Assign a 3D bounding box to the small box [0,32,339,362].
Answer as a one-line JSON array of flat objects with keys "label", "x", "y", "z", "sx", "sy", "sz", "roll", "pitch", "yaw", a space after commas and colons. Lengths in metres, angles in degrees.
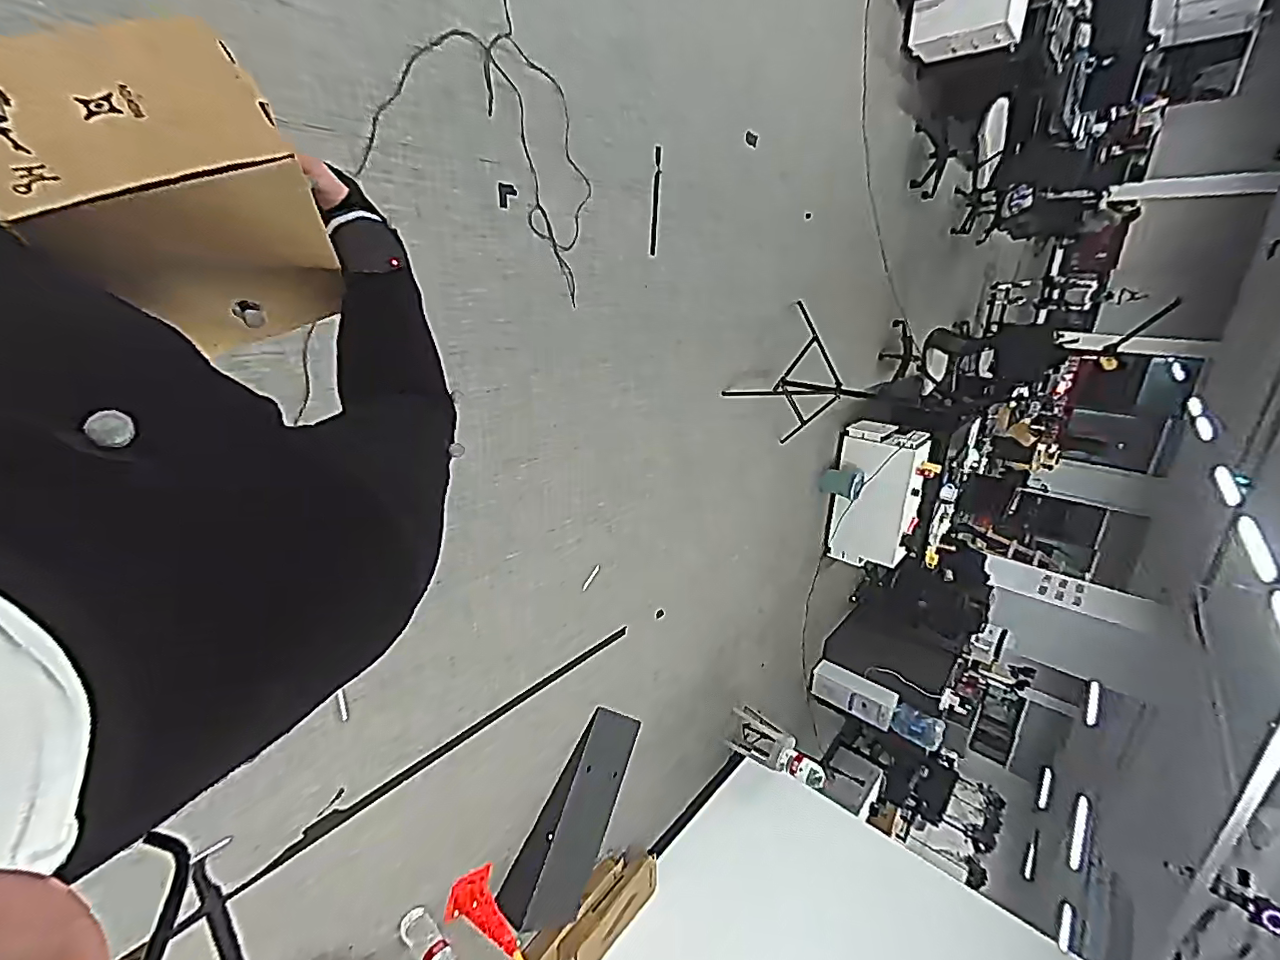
[{"label": "small box", "x": -0.390, "y": -0.236, "z": 0.469, "sx": 0.179, "sy": 0.168, "sz": 0.176, "roll": -30, "pitch": 166, "yaw": -23}]
